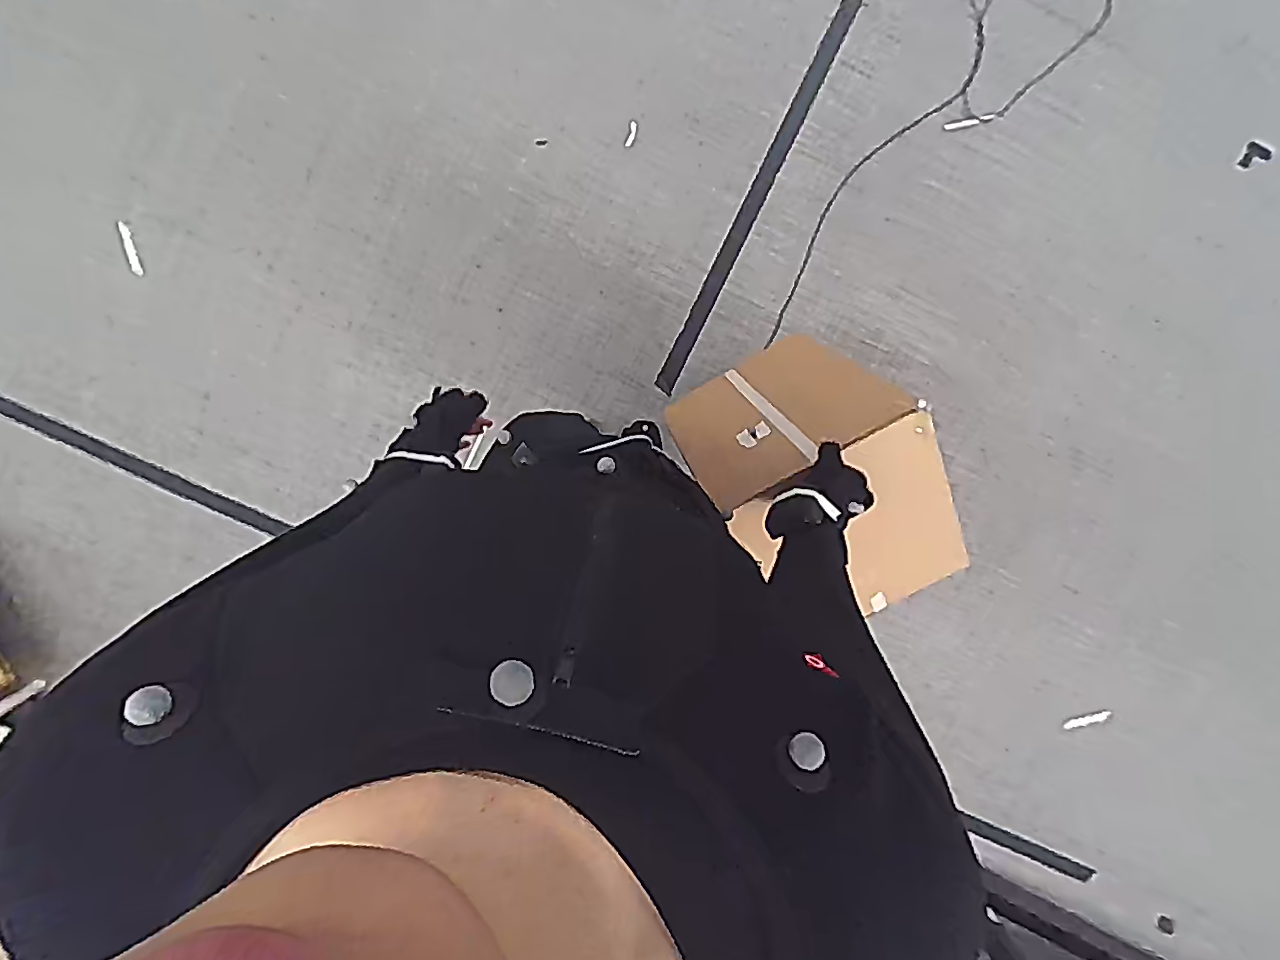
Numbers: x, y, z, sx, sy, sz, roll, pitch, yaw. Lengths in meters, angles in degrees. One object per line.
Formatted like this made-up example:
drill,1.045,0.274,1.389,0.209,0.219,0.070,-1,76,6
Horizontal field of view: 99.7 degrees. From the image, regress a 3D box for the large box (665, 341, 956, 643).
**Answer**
large box,0.280,0.001,0.973,0.320,0.408,0.320,-29,120,6
